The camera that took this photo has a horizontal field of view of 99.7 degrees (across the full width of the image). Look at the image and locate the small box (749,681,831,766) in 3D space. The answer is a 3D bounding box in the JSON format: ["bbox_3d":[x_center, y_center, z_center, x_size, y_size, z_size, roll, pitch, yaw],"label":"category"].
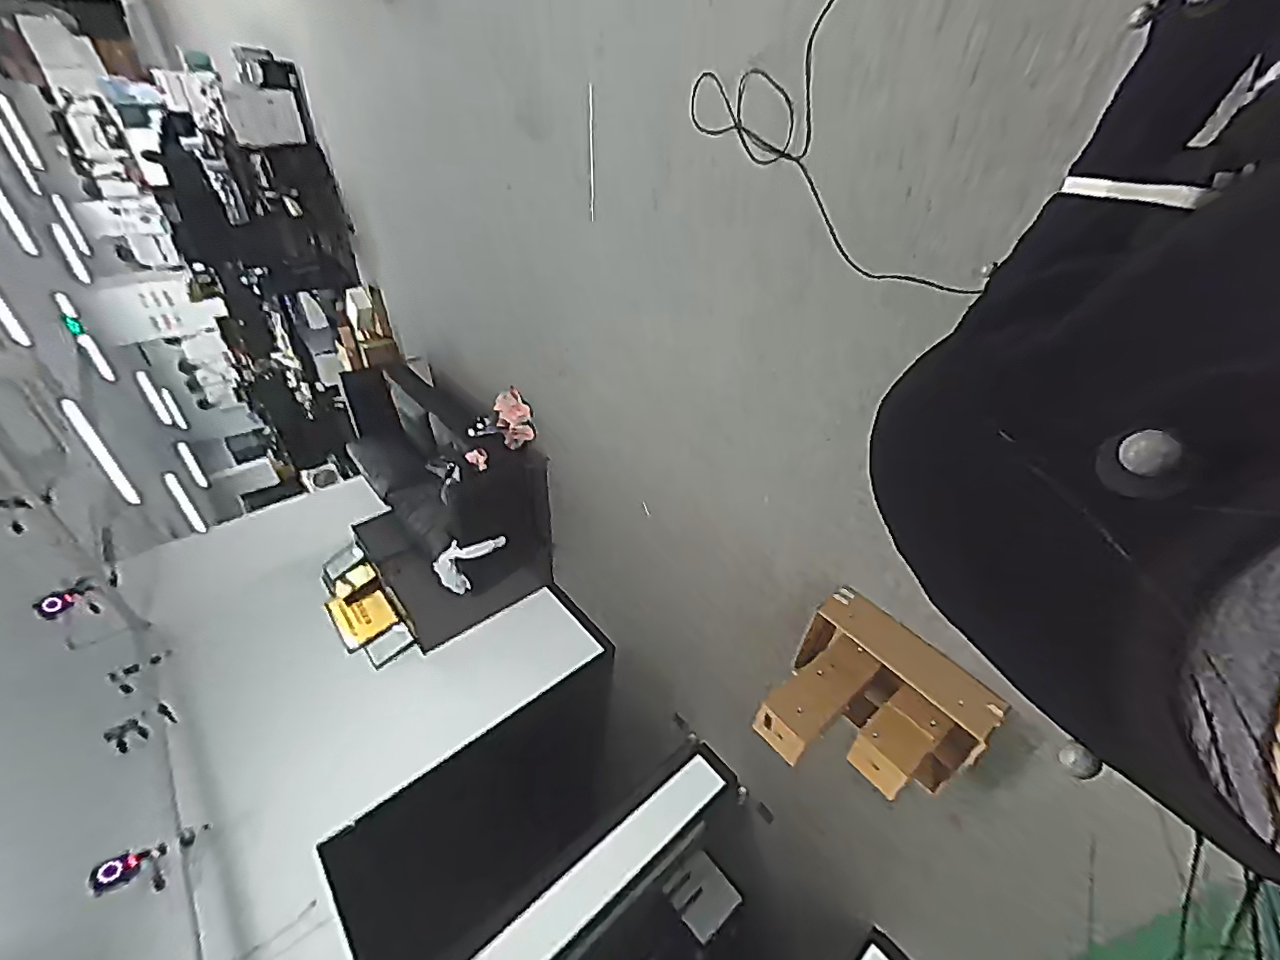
[{"bbox_3d":[0.498,0.801,1.804,0.179,0.176,0.168,39,138,34],"label":"small box"}]

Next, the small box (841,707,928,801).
[{"bbox_3d":[0.790,0.878,1.746,0.179,0.176,0.168,38,138,38],"label":"small box"}]

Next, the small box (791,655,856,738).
[{"bbox_3d":[0.626,0.750,1.894,0.168,0.176,0.179,39,139,34],"label":"small box"}]
